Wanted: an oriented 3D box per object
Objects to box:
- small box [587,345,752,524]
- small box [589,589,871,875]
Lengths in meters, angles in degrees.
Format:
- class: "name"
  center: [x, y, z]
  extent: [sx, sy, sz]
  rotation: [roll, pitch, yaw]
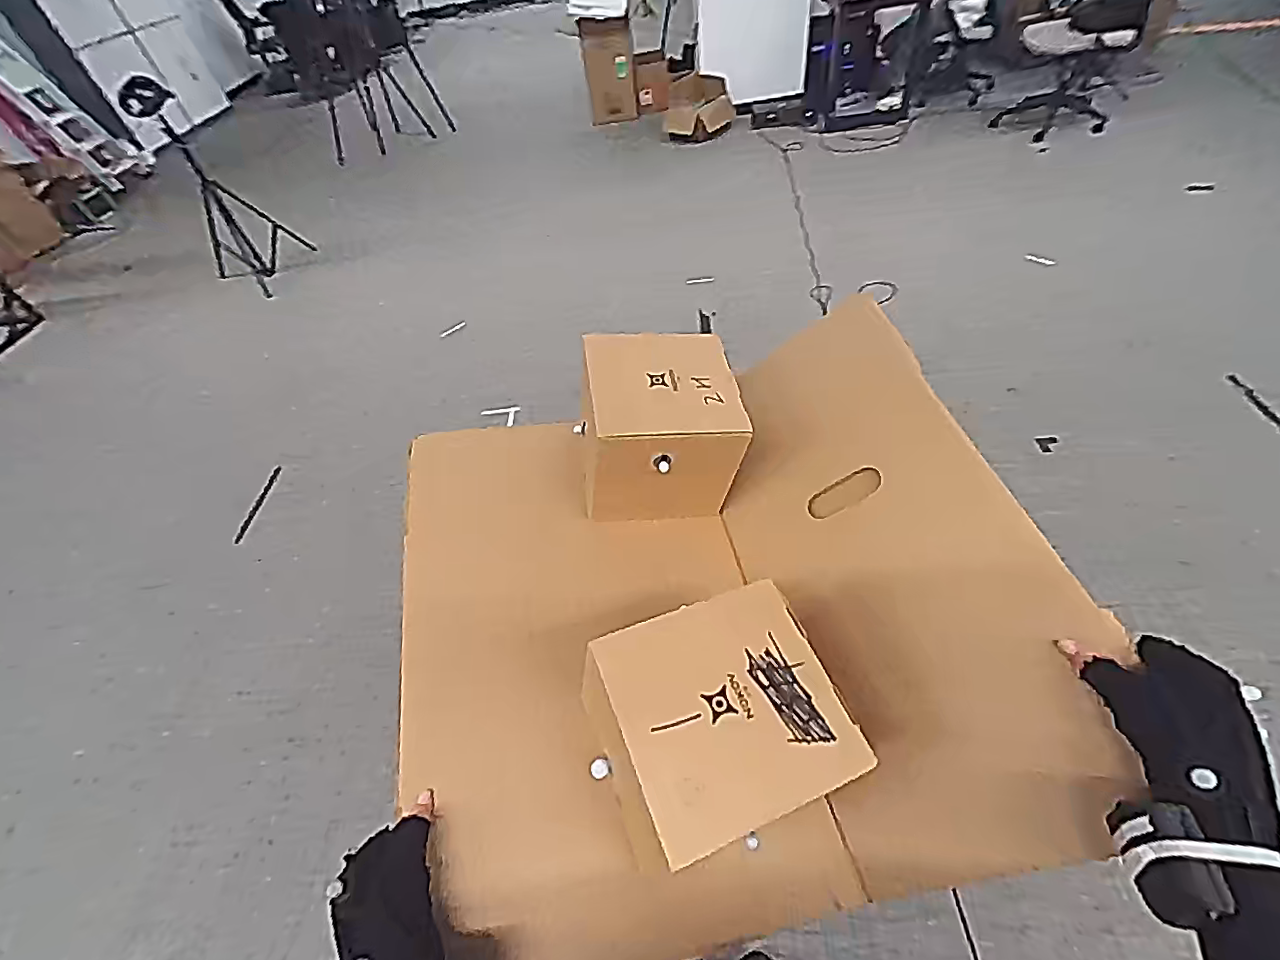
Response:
- class: "small box"
  center: [0.022, -0.054, 0.696]
  extent: [0.179, 0.176, 0.168]
  rotation: [-2, 54, -10]
- class: "small box"
  center: [0.061, 0.227, 0.491]
  extent: [0.179, 0.176, 0.168]
  rotation: [-14, 57, -18]
